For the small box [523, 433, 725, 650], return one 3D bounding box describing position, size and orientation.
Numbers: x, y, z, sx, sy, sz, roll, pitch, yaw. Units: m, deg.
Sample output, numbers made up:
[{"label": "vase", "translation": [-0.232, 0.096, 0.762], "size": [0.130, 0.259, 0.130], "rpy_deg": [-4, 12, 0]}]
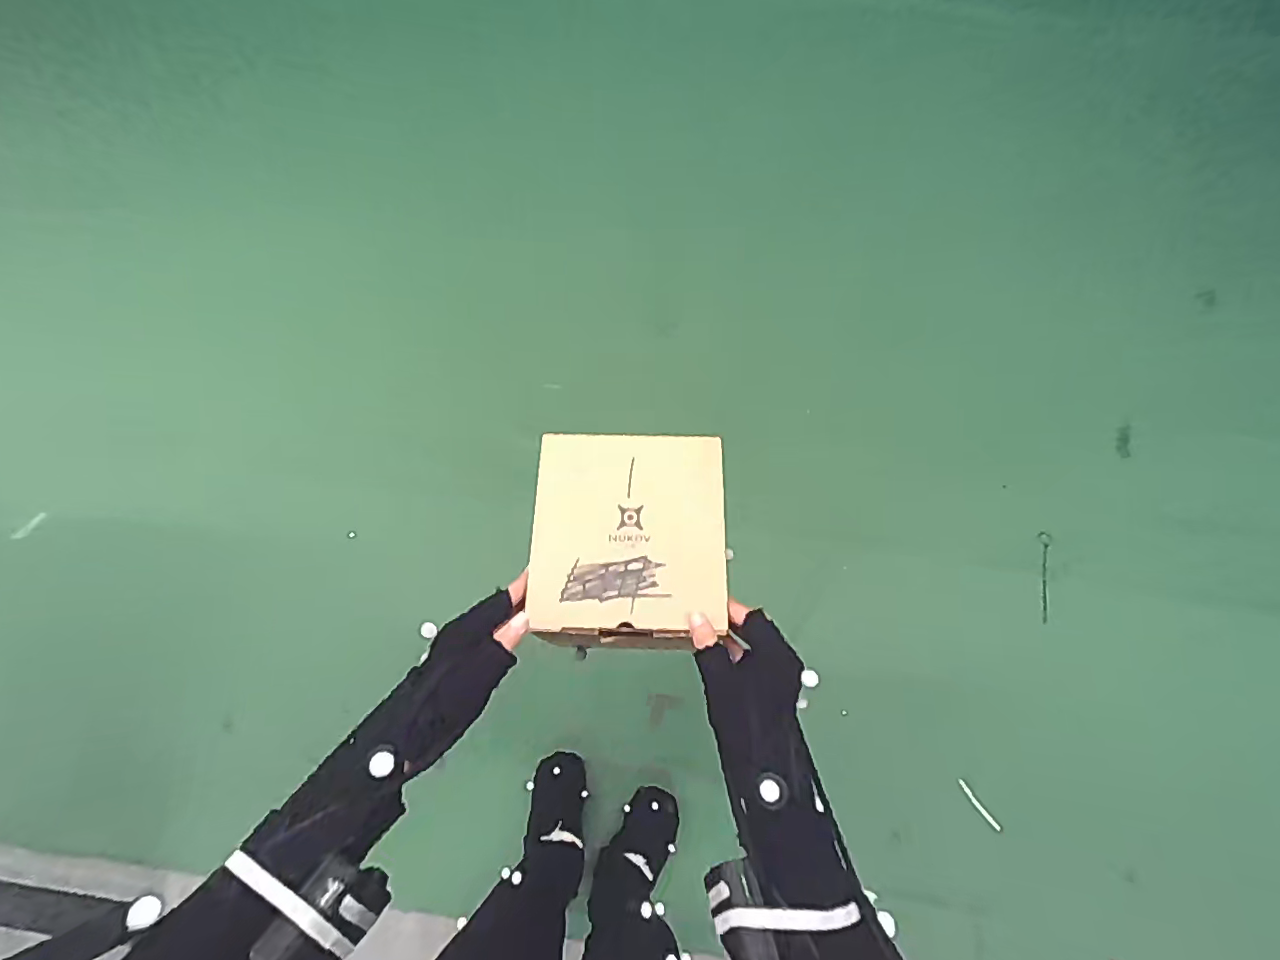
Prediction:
[{"label": "small box", "translation": [-0.008, 0.069, 0.533], "size": [0.168, 0.176, 0.179], "rpy_deg": [1, 67, 1]}]
